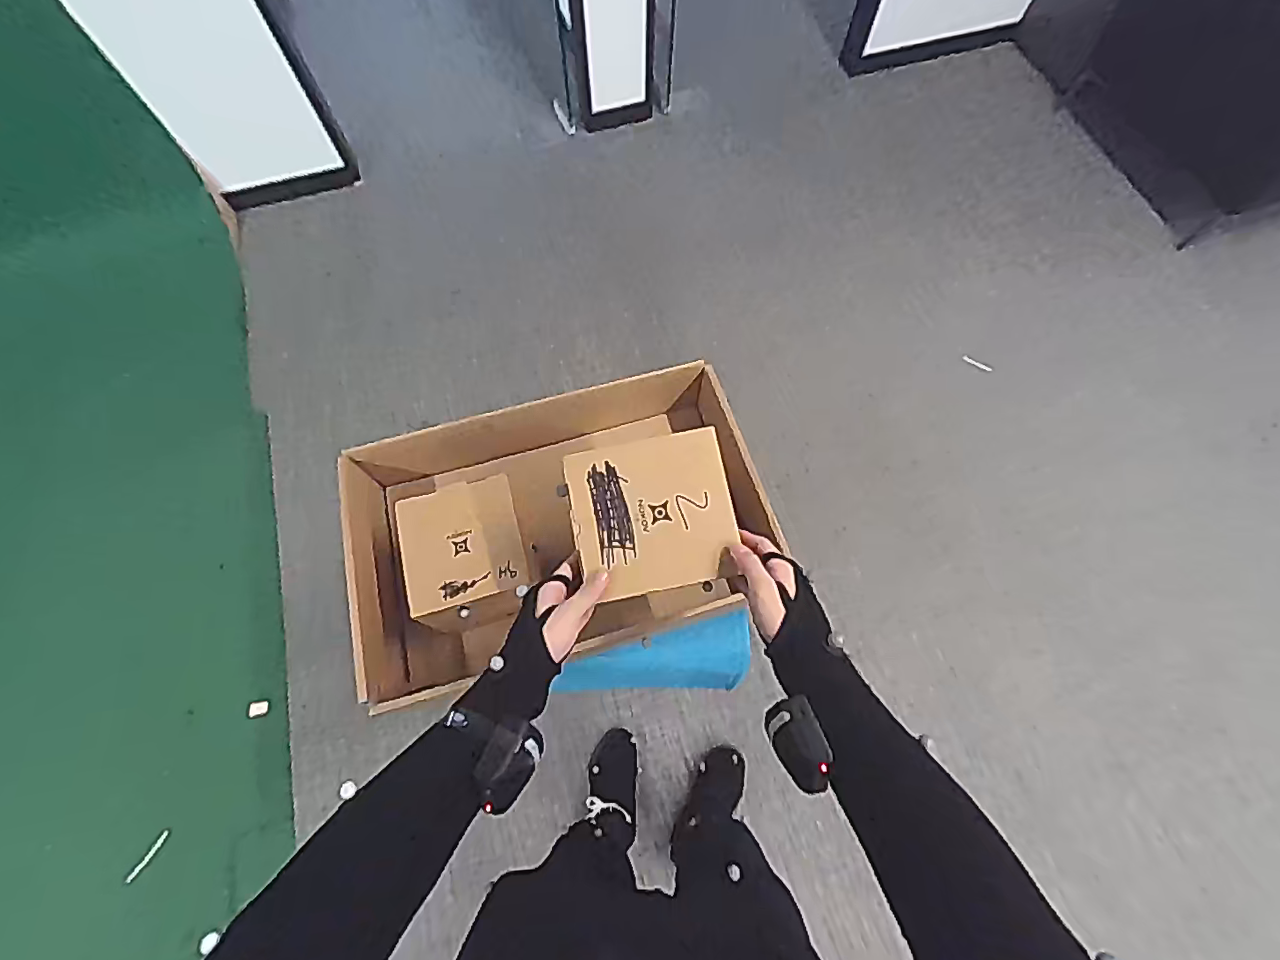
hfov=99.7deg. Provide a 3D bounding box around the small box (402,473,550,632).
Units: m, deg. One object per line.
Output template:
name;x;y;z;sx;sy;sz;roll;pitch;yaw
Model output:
small box;-0.245;0.117;0.832;0.168;0.176;0.179;-16;67;-6
